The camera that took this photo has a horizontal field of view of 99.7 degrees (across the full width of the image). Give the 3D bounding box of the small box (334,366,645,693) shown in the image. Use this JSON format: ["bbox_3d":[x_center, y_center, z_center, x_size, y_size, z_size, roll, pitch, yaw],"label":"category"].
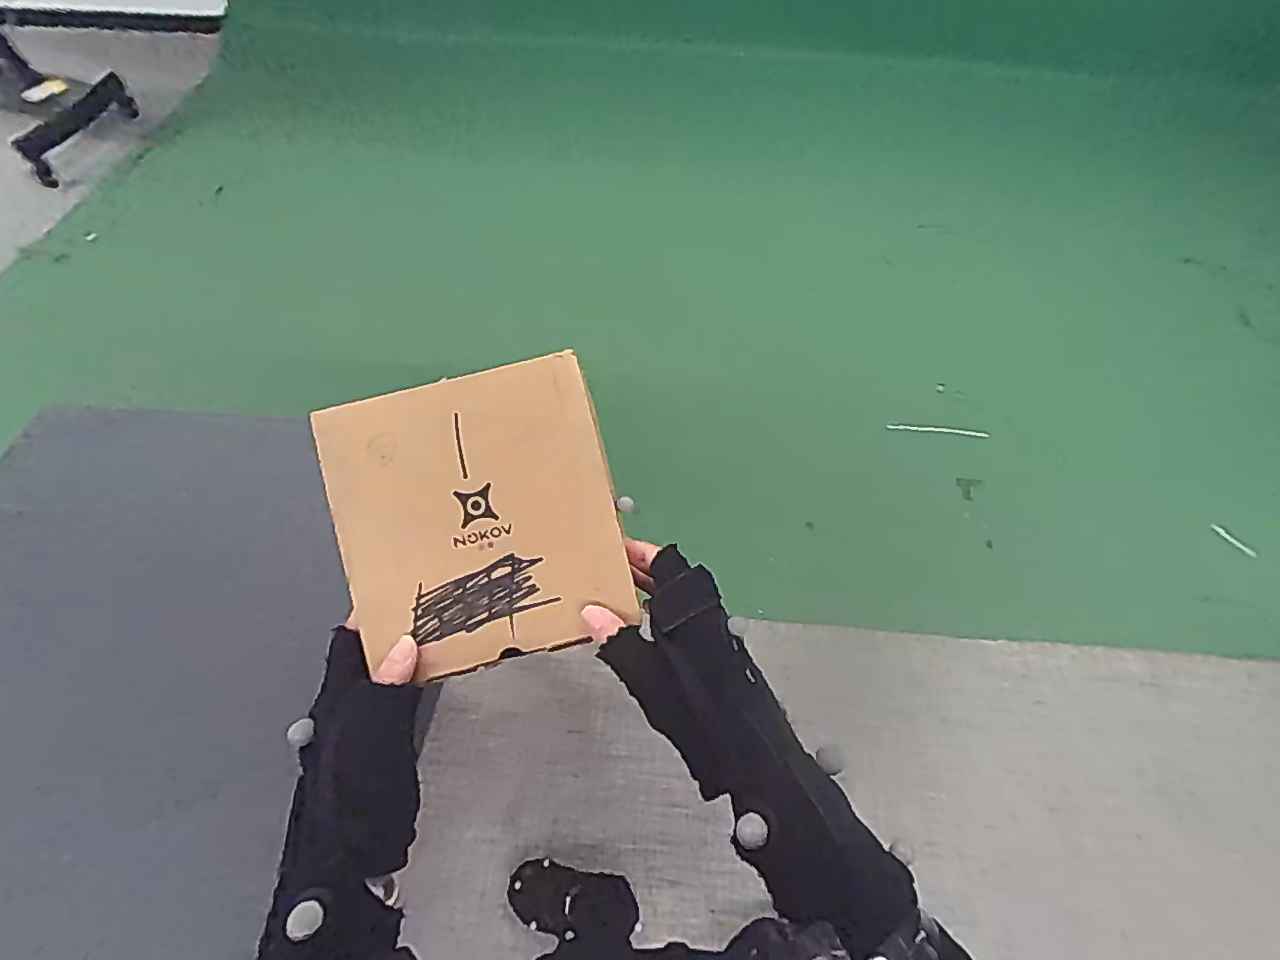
[{"bbox_3d":[-0.093,0.032,0.412,0.168,0.176,0.179,-13,87,-2],"label":"small box"}]
